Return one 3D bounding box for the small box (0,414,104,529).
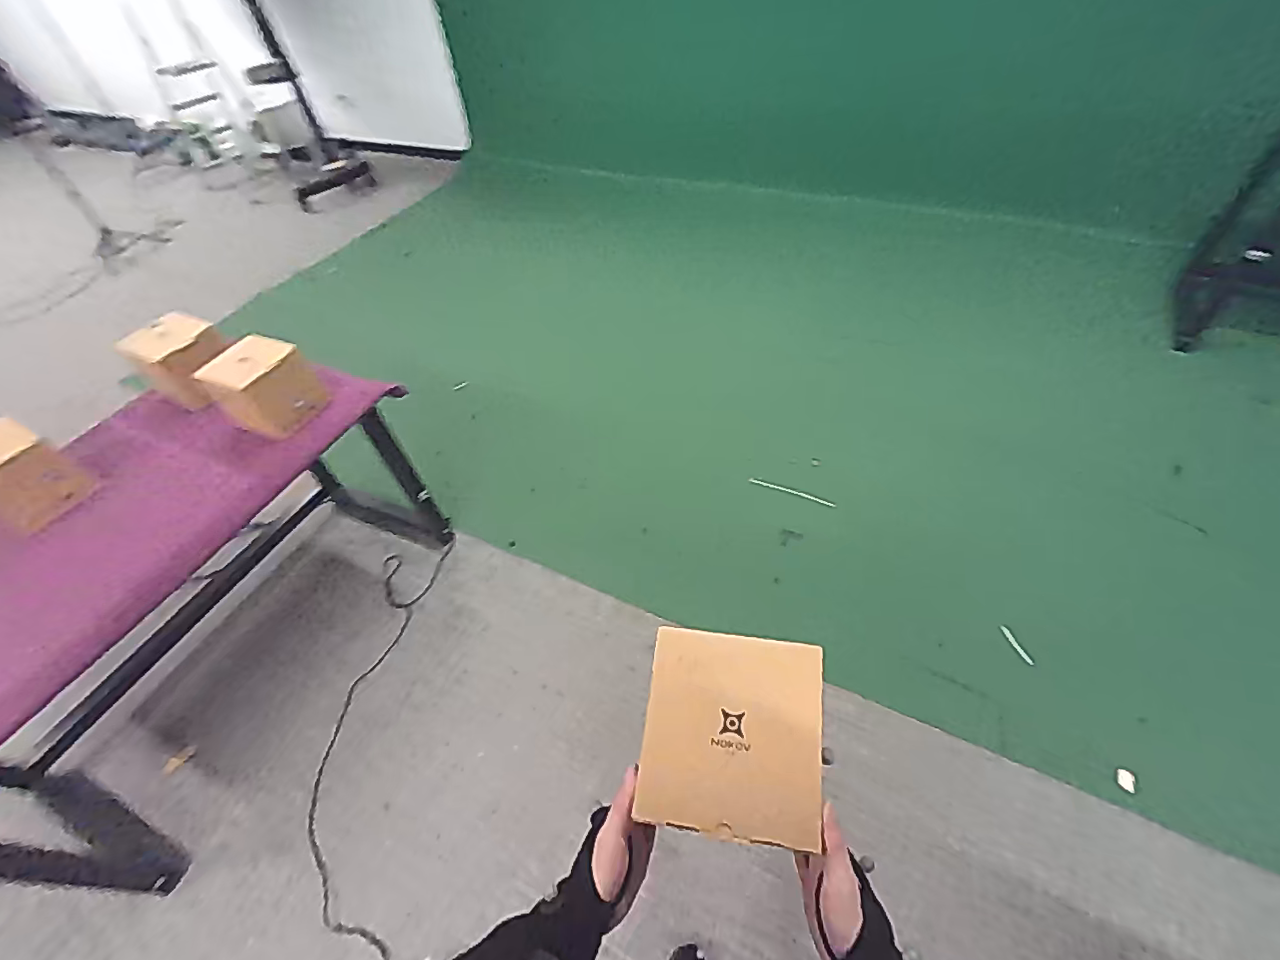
[{"bbox_3d":[-1.385,-0.015,1.216,0.179,0.176,0.168,20,54,21],"label":"small box"}]

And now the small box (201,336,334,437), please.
[{"bbox_3d":[-0.917,-0.231,1.348,0.179,0.176,0.168,17,55,20],"label":"small box"}]

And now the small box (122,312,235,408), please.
[{"bbox_3d":[-1.202,-0.319,1.453,0.179,0.176,0.168,20,55,18],"label":"small box"}]

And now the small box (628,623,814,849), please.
[{"bbox_3d":[0.087,0.267,0.580,0.168,0.176,0.179,5,65,9],"label":"small box"}]
